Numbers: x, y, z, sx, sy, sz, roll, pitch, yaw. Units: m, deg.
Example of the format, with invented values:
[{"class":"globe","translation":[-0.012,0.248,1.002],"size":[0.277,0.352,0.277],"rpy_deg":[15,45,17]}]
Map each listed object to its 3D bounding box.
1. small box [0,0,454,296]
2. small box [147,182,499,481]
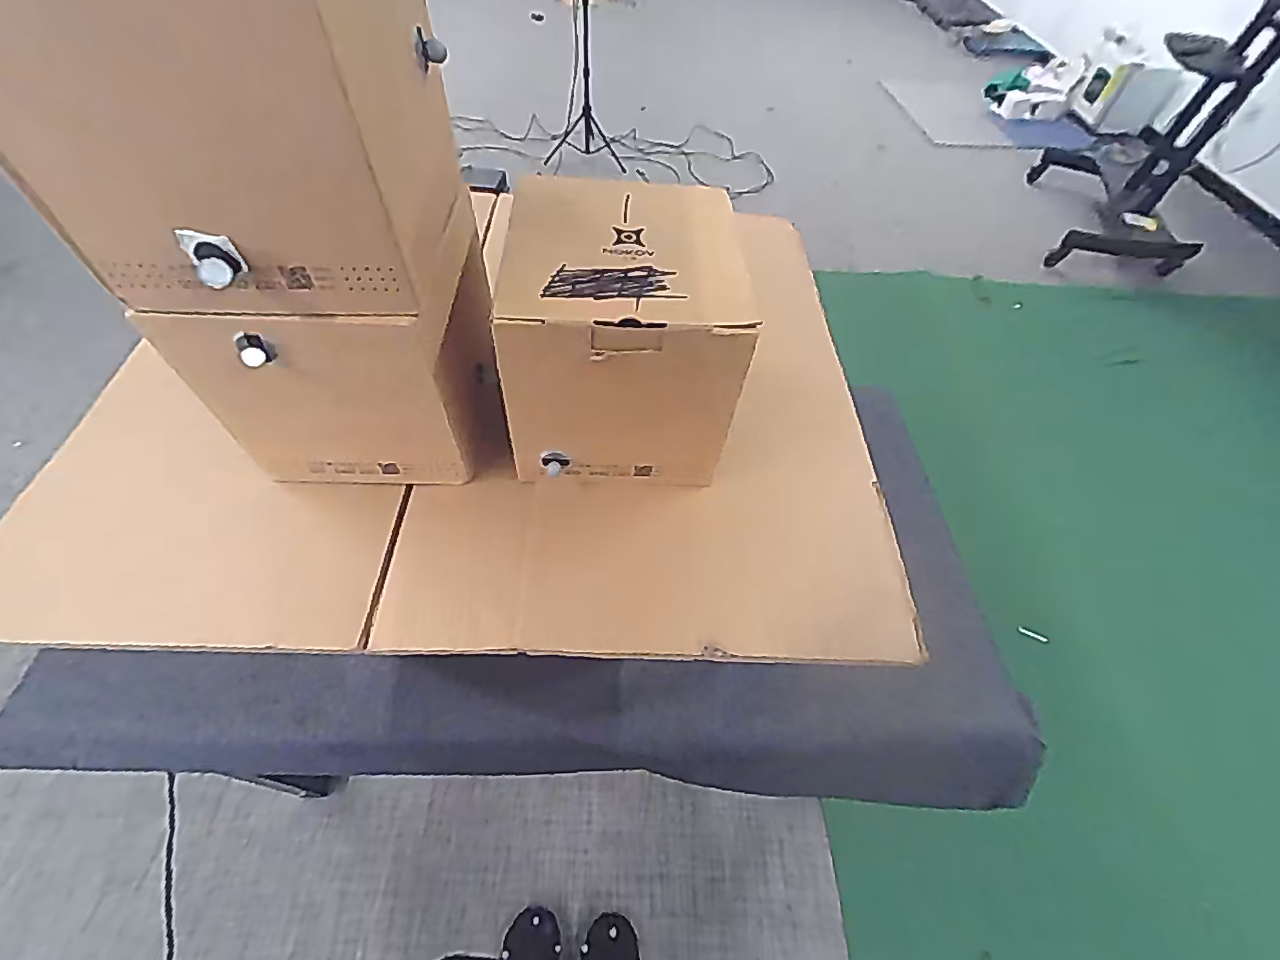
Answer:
[{"class":"small box","translation":[-0.209,-0.225,0.294],"size":[0.168,0.176,0.179],"rpy_deg":[-2,56,-4]},{"class":"small box","translation":[-0.218,-0.120,0.438],"size":[0.168,0.176,0.179],"rpy_deg":[1,54,-1]}]
